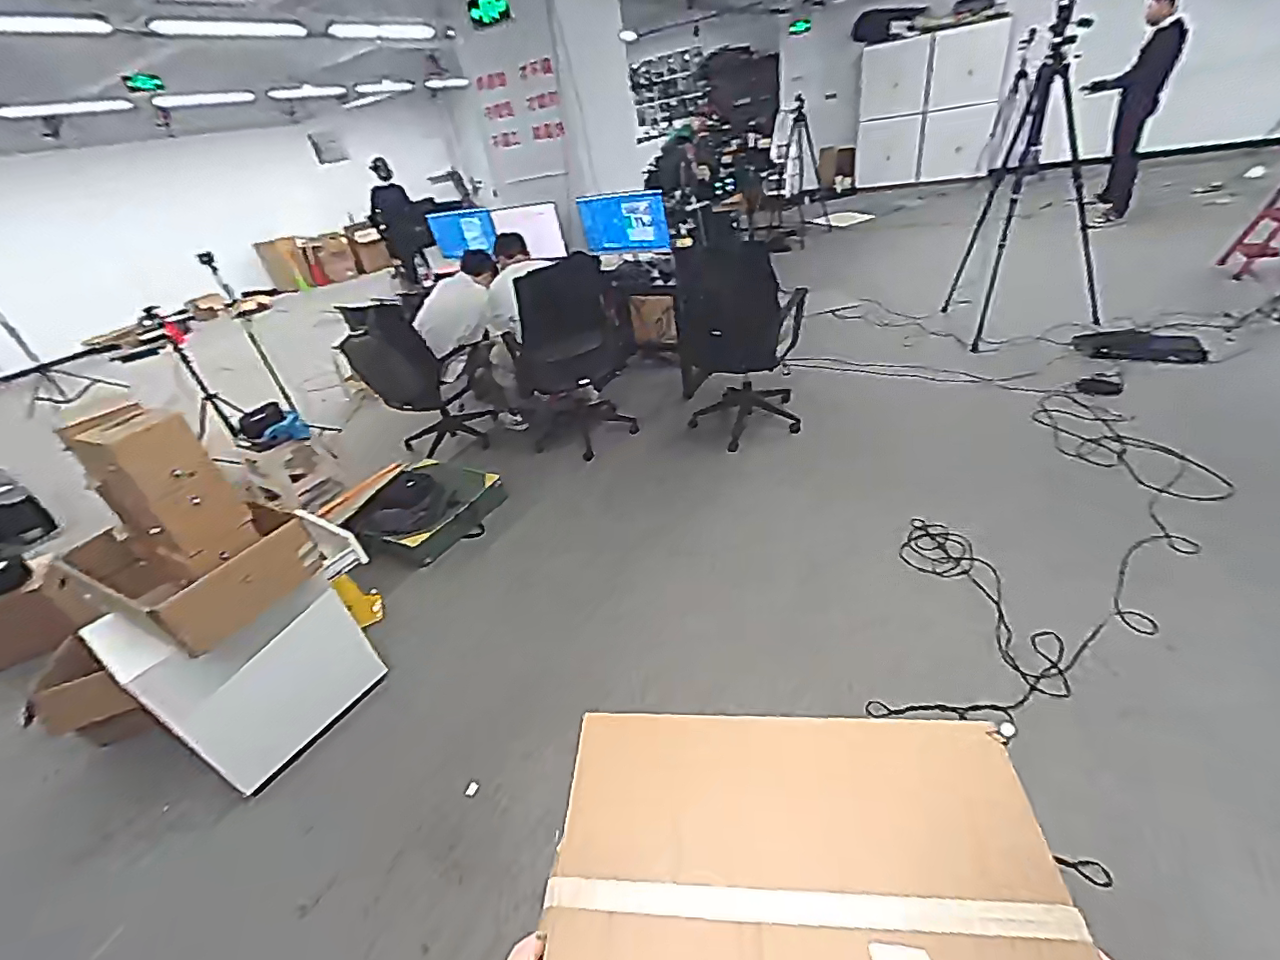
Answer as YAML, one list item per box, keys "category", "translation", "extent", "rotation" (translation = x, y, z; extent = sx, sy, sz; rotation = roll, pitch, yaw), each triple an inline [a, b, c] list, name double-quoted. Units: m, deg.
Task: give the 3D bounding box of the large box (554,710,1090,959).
- category: "large box"
  translation: [0.146, 0.453, 0.529]
  extent: [0.408, 0.320, 0.320]
  rotation: [-1, 39, 8]
